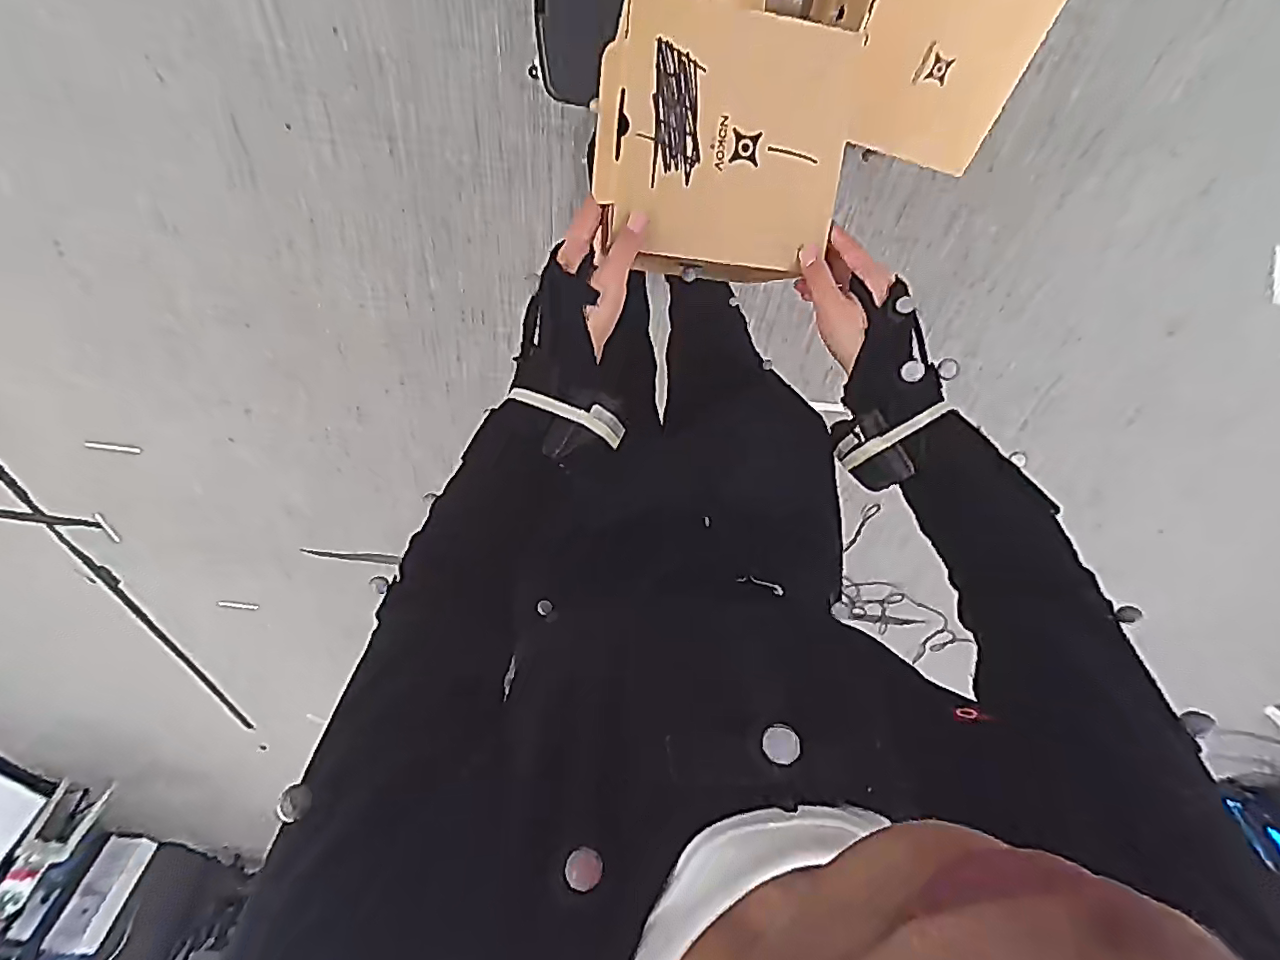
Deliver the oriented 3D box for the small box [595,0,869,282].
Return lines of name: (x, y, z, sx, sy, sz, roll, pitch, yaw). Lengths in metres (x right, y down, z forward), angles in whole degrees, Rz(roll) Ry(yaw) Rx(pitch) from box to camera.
small box: (0.057, -0.268, 0.465, 0.179, 0.176, 0.168, 3, 107, -11)

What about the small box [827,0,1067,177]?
small box: (0.302, -0.471, 0.601, 0.179, 0.176, 0.168, 13, 134, -7)
